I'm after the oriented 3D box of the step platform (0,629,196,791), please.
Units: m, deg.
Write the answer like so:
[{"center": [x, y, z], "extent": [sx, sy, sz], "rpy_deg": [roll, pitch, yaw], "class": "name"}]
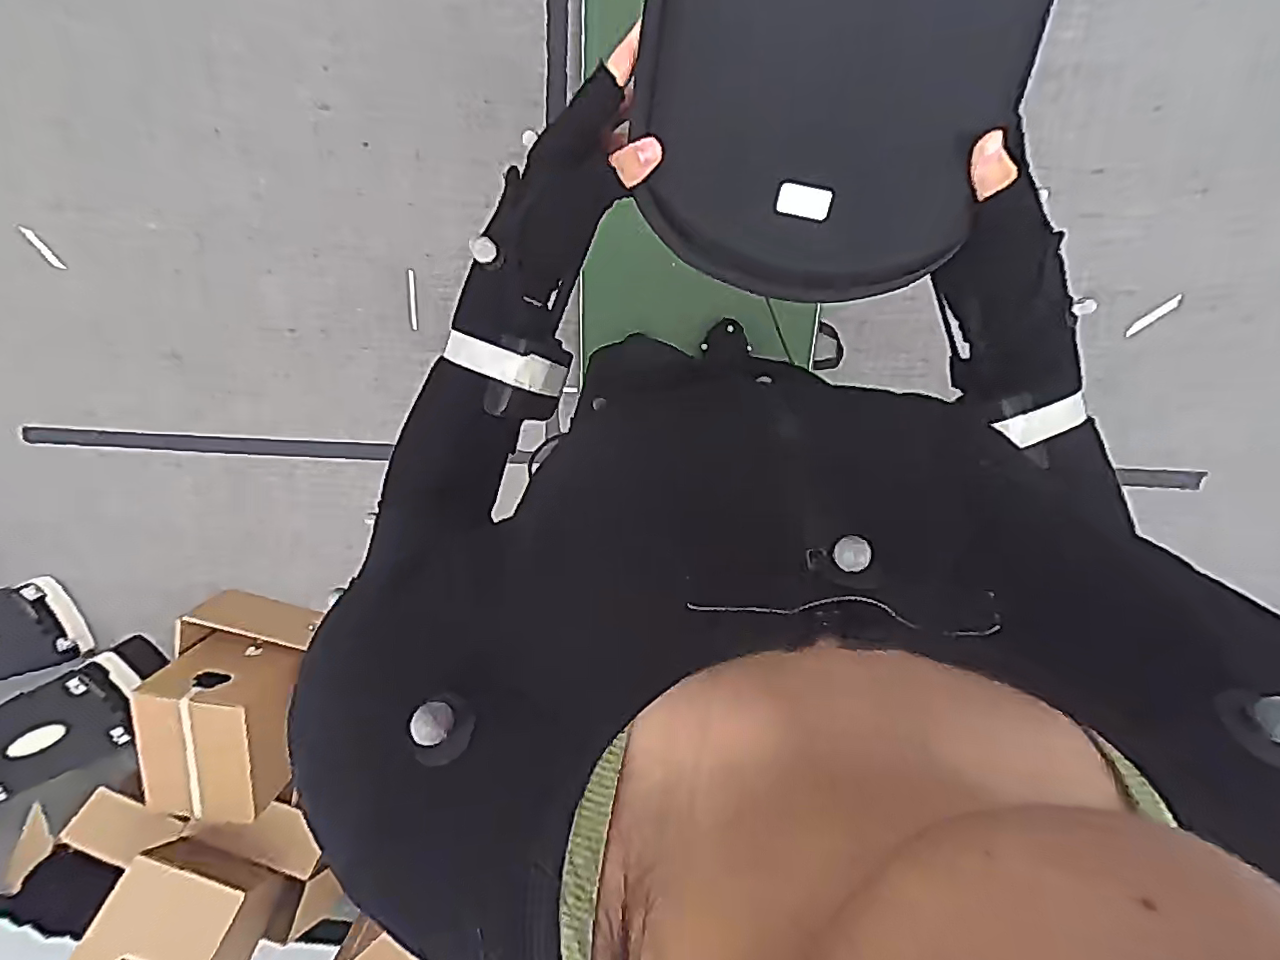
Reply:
[{"center": [-1.862, 0.761, 1.783], "extent": [0.684, 0.204, 0.286], "rpy_deg": [-26, 104, 9], "class": "step platform"}]
